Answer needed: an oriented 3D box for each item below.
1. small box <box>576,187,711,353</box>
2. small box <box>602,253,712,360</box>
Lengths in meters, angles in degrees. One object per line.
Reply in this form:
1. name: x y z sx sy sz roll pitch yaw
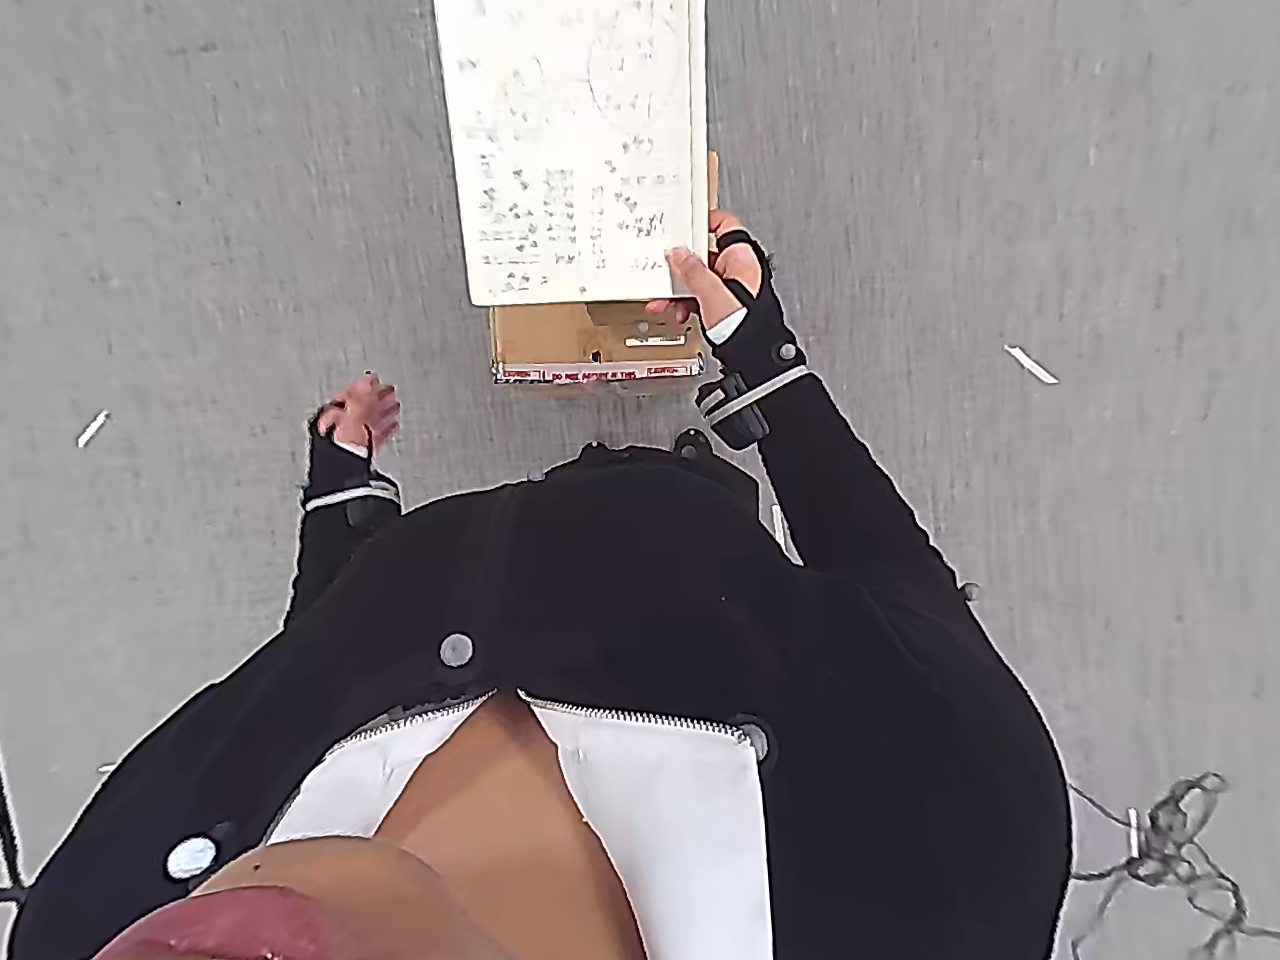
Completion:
1. small box: 0.002 -0.278 0.748 0.168 0.176 0.179 1 97 -1
2. small box: 0.021 -0.297 0.912 0.179 0.176 0.168 -3 95 1
